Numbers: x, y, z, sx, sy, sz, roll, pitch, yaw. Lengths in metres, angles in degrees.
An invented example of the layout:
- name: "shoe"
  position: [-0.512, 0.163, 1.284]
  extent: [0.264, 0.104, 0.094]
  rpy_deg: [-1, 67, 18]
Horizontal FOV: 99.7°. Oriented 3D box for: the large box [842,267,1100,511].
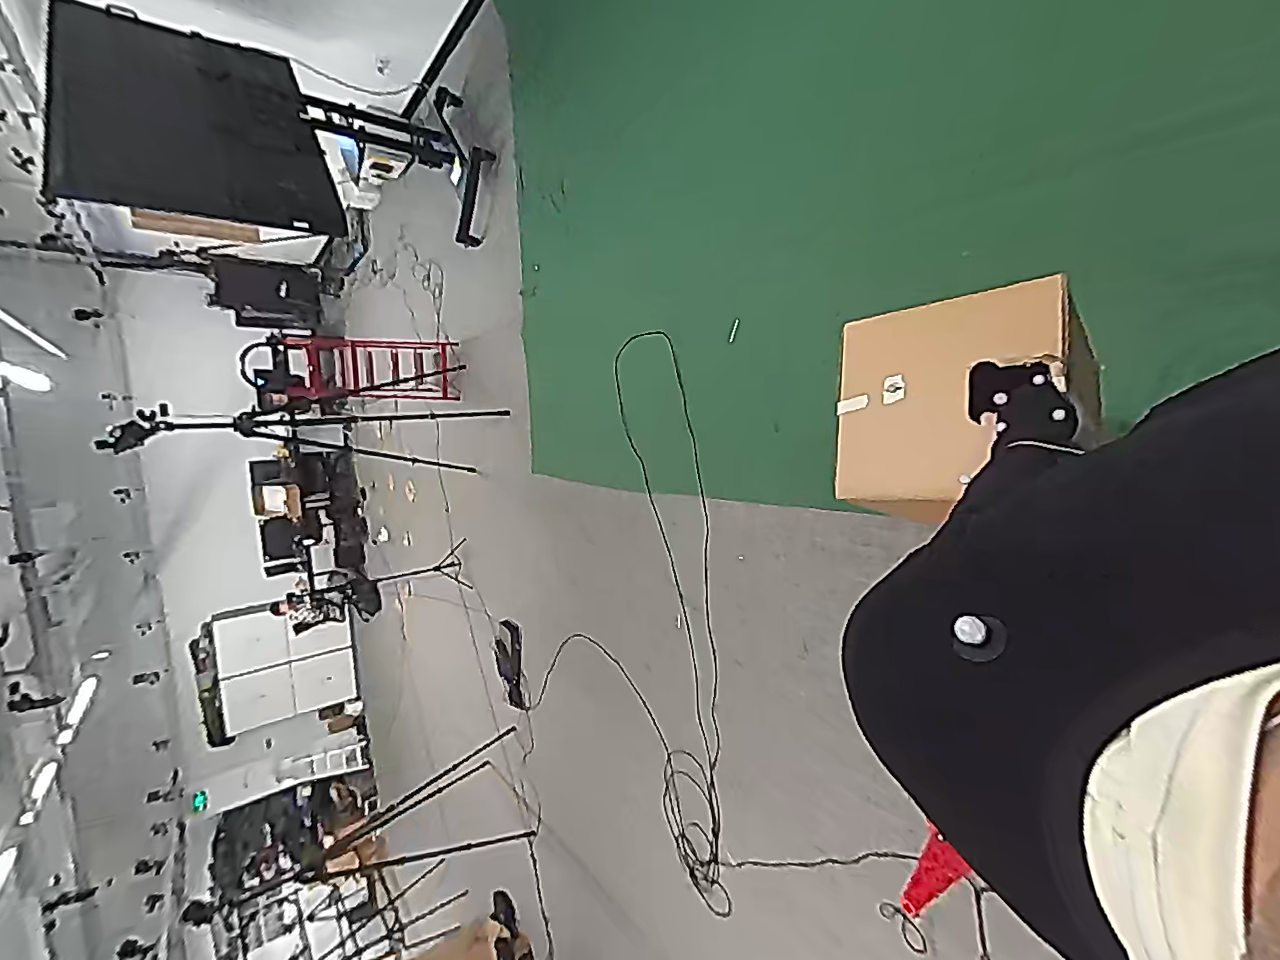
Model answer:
- name: "large box"
  position: [0.591, -0.115, 0.960]
  extent: [0.320, 0.408, 0.320]
  rpy_deg: [-1, 82, 45]
